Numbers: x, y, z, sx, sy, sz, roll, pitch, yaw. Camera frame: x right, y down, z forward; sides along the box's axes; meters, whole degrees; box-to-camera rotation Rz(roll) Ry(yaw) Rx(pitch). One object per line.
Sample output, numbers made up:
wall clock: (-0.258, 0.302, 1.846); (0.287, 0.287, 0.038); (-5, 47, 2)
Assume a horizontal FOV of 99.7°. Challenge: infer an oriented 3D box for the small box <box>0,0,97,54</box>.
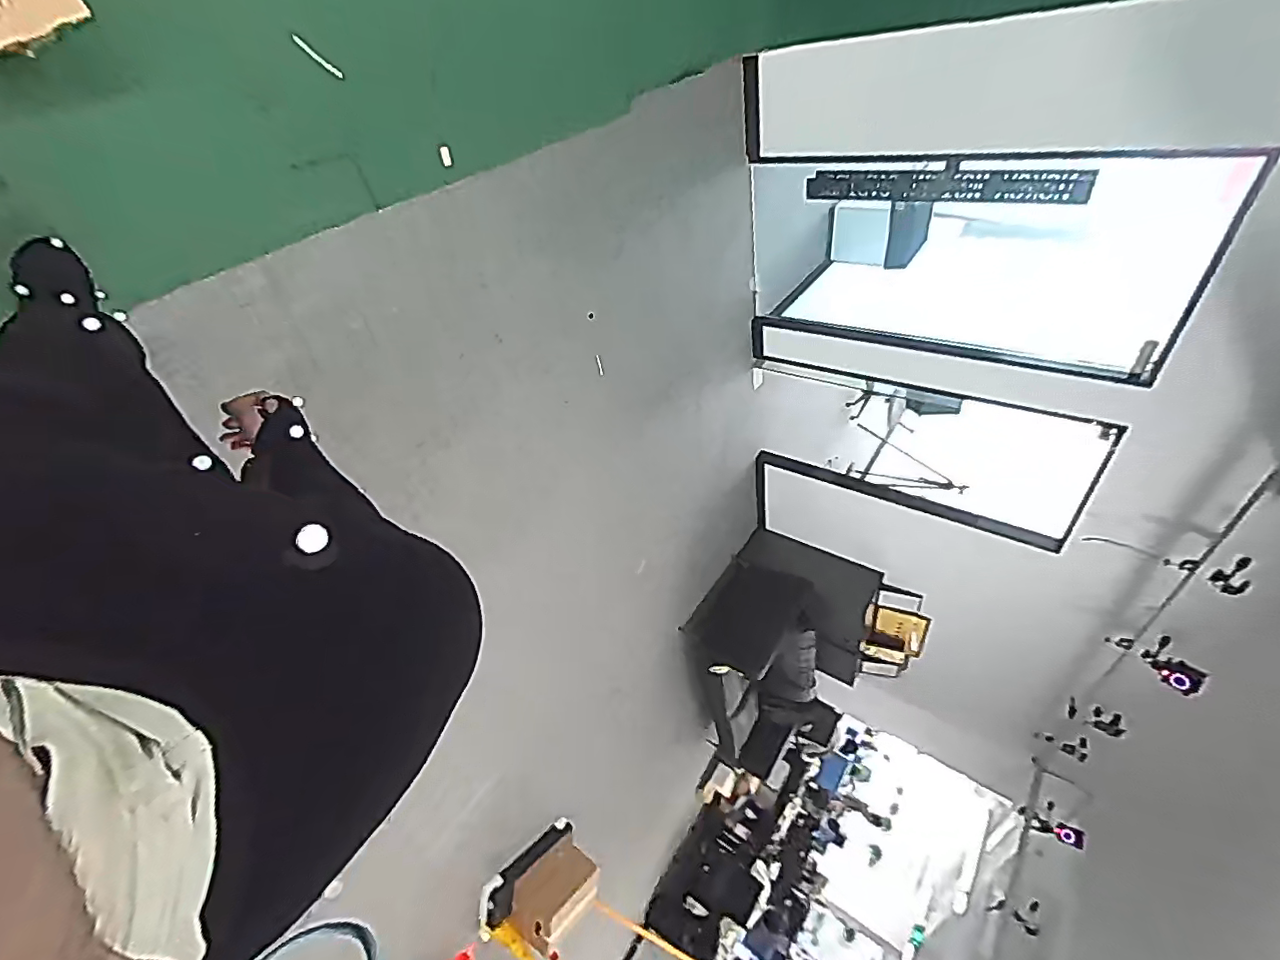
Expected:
small box: (-0.941, -0.723, 0.754); (0.168, 0.176, 0.179); (-51, 145, -24)
